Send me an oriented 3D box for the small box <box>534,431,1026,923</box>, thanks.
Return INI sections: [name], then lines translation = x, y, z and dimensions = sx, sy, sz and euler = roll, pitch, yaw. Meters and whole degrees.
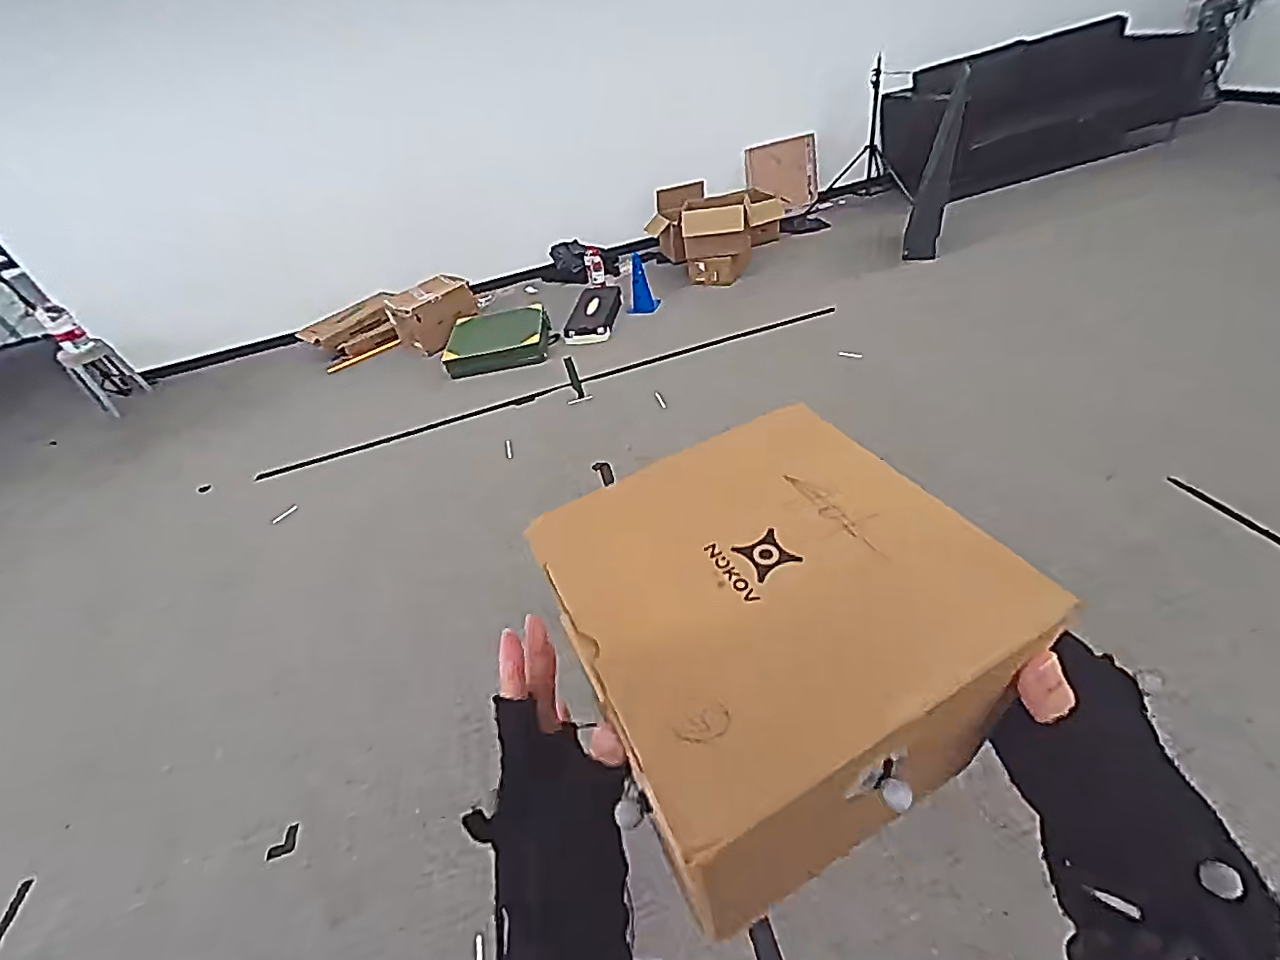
[small box]
translation = 0.064, 0.107, 0.312
dimensions = 0.179, 0.176, 0.168
euler = -25, 43, -15
